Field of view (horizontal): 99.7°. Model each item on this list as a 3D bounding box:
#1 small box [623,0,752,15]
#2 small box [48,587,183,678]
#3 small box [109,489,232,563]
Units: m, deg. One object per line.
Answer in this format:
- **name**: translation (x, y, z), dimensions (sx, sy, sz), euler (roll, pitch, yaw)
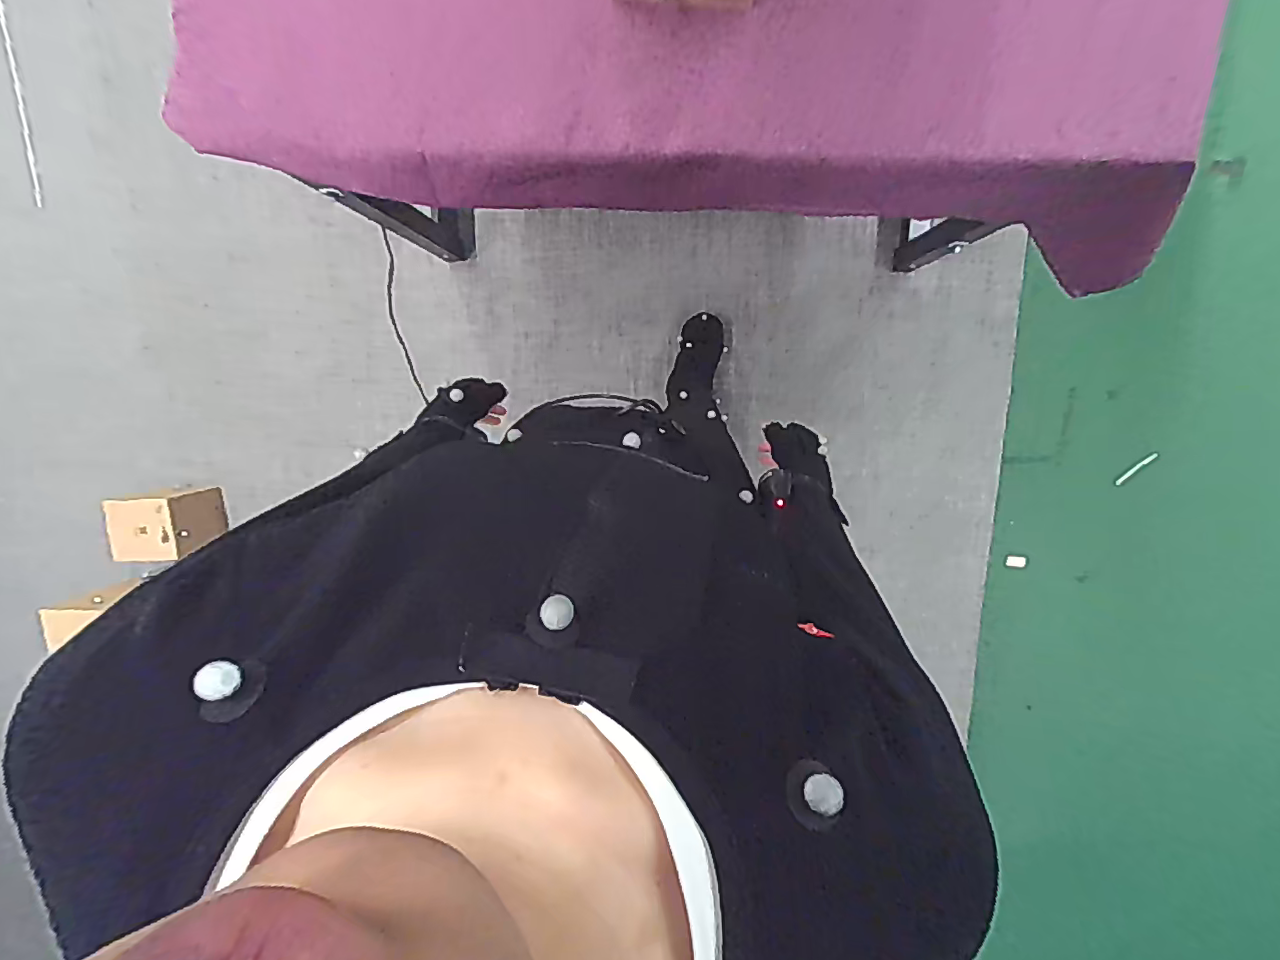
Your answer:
- **small box**: translation (0.051, -0.617, 0.532), dimensions (0.168, 0.176, 0.179), euler (6, 101, 3)
- **small box**: translation (-1.285, 0.372, 1.344), dimensions (0.179, 0.176, 0.168), euler (0, 100, 4)
- **small box**: translation (-1.262, 0.121, 1.464), dimensions (0.179, 0.176, 0.168), euler (-2, 101, 4)
